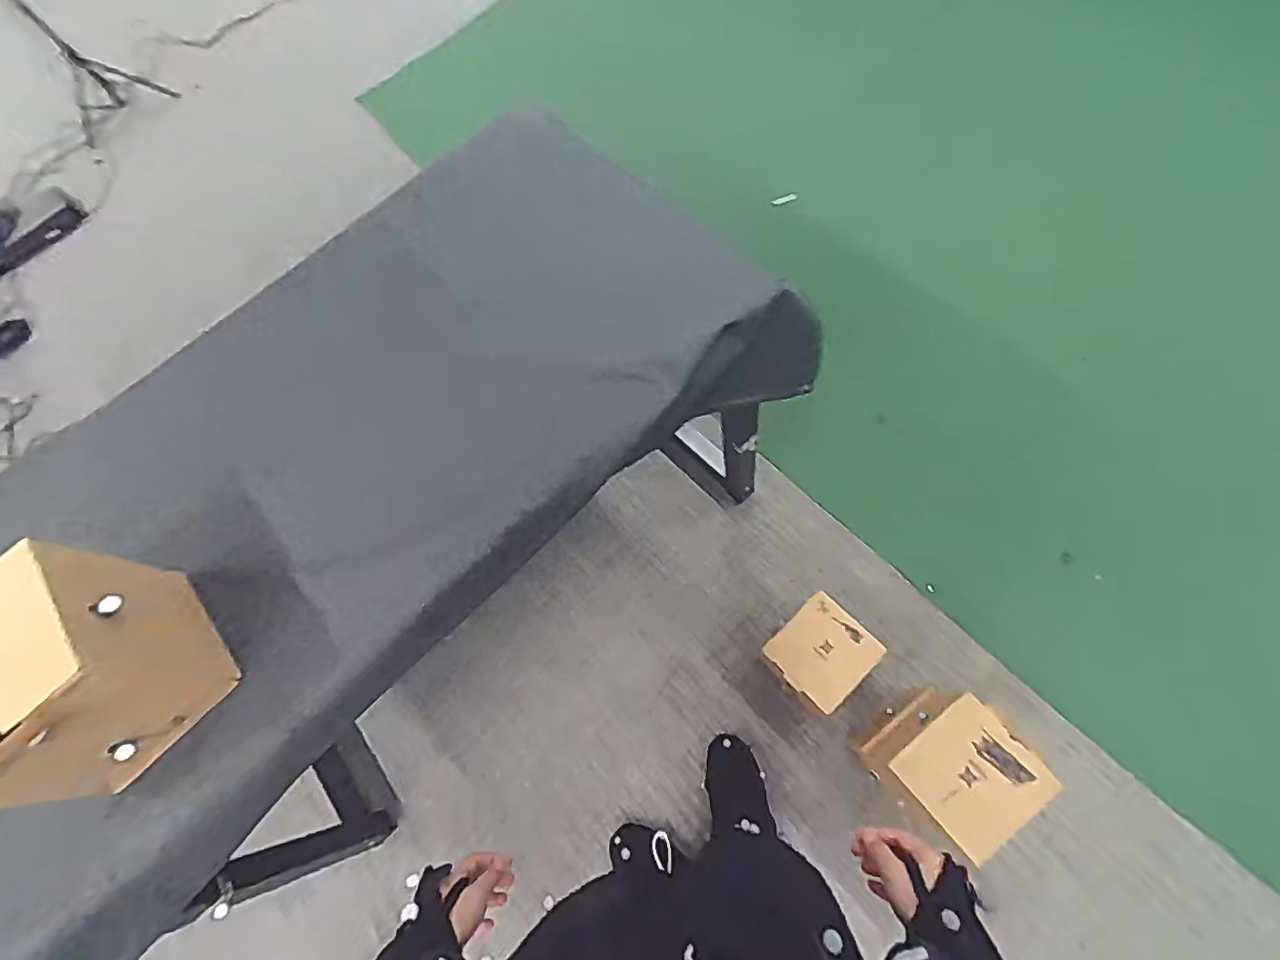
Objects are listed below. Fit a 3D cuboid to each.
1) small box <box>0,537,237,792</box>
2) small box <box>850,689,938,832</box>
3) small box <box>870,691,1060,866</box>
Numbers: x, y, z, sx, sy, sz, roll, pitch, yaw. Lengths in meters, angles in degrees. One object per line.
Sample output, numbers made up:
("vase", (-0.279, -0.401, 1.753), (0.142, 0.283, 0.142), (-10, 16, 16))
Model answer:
("small box", (-0.573, 0.192, 0.552), (0.168, 0.176, 0.179), (-45, 68, -10))
("small box", (0.526, 0.518, 1.022), (0.179, 0.176, 0.168), (-39, 66, -5))
("small box", (0.502, 0.463, 0.869), (0.179, 0.176, 0.168), (-39, 66, -6))
